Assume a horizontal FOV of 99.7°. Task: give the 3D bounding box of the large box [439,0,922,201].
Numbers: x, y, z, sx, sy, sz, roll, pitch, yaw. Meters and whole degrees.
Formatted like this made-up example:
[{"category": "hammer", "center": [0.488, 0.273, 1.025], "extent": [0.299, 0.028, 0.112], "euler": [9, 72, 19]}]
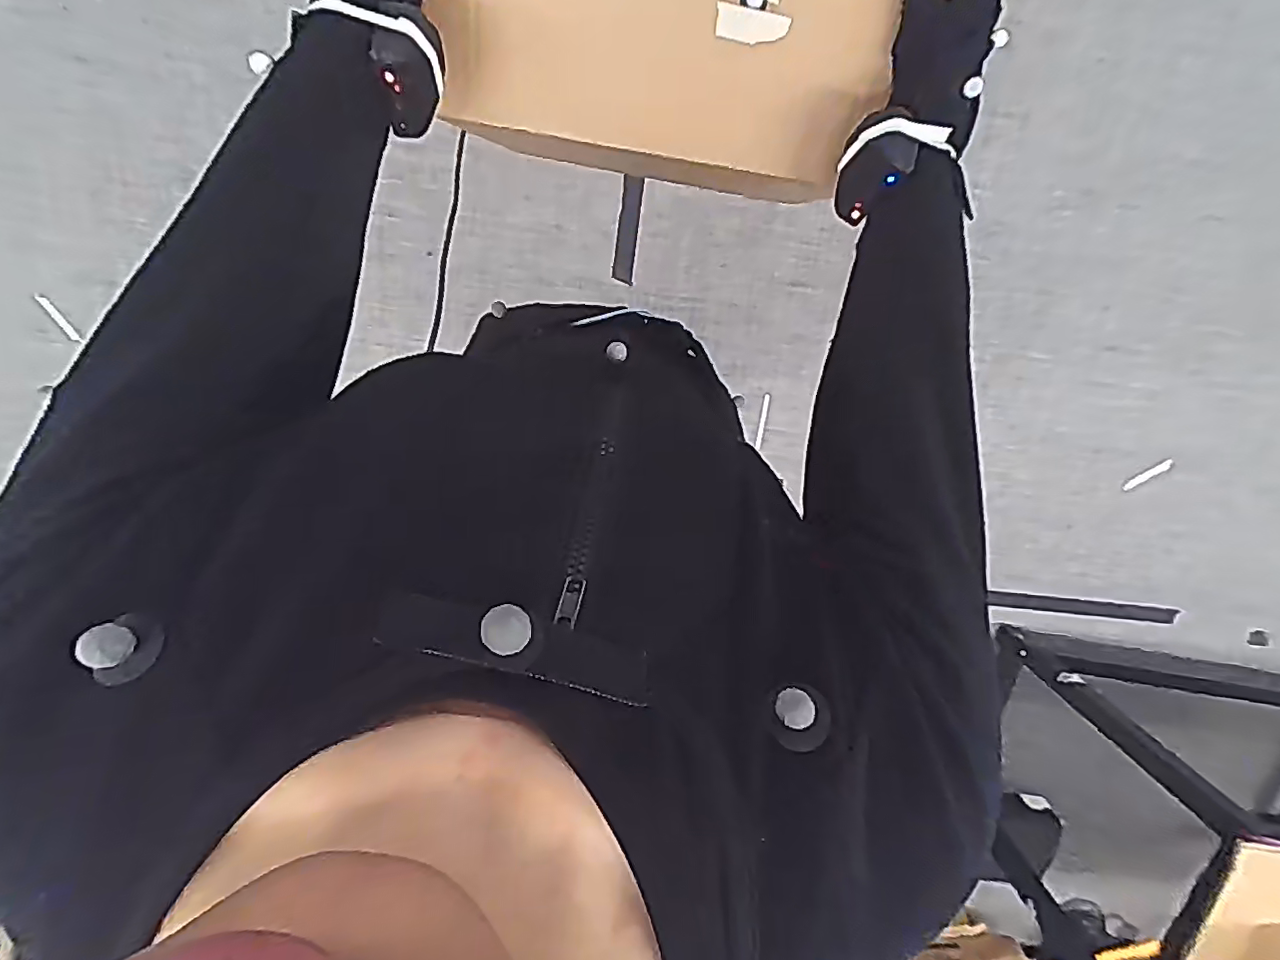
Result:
[{"category": "large box", "center": [0.040, -0.495, 0.563], "extent": [0.408, 0.320, 0.320], "euler": [9, 116, -2]}]
